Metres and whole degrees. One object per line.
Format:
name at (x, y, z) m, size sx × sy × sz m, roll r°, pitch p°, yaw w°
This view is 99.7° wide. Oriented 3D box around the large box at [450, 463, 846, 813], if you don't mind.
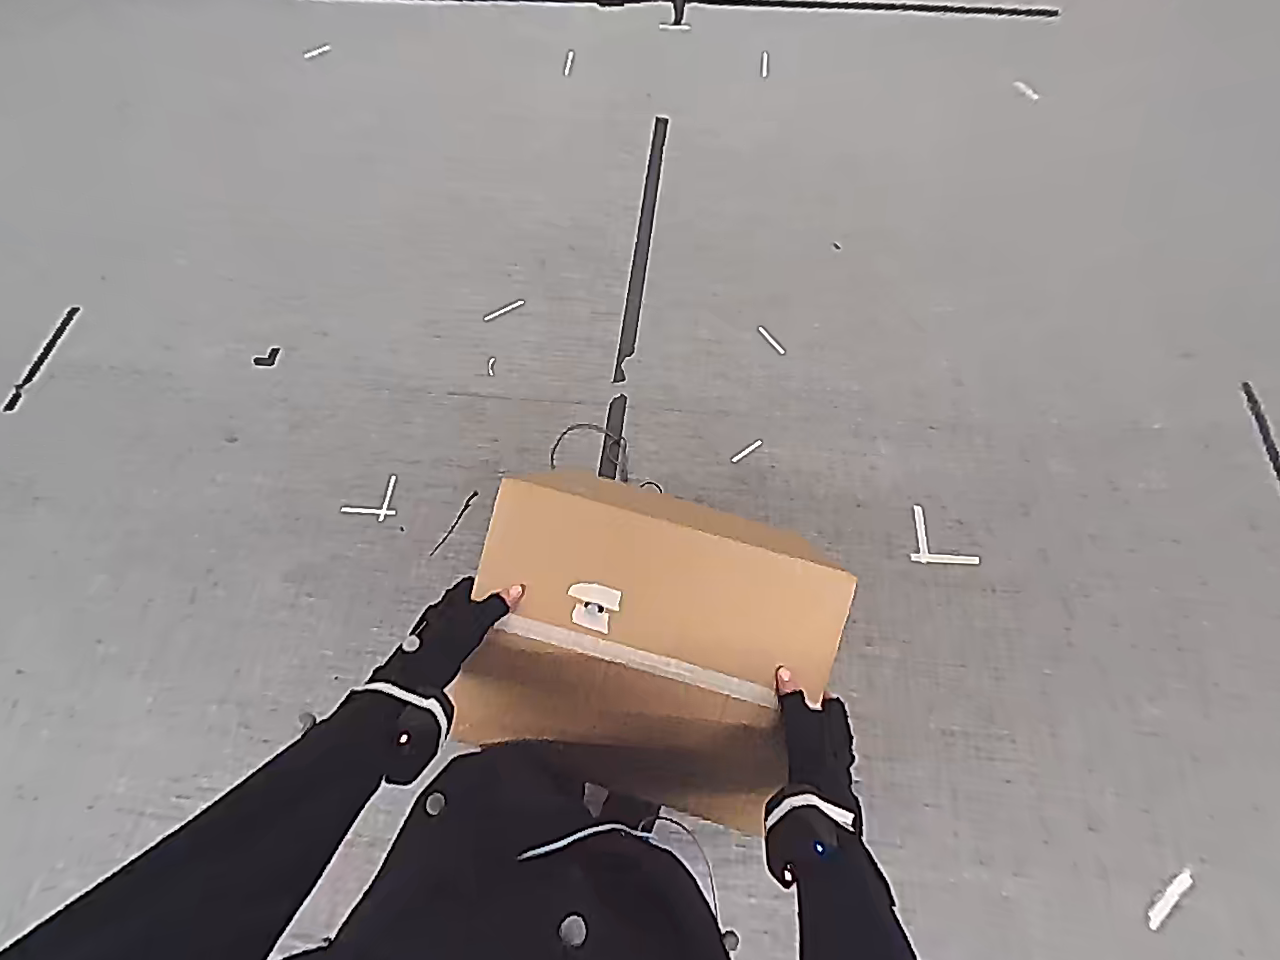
large box at (0.016, 0.176, 0.765) m, size 0.408 × 0.320 × 0.320 m, roll 16°, pitch 94°, yaw 5°
